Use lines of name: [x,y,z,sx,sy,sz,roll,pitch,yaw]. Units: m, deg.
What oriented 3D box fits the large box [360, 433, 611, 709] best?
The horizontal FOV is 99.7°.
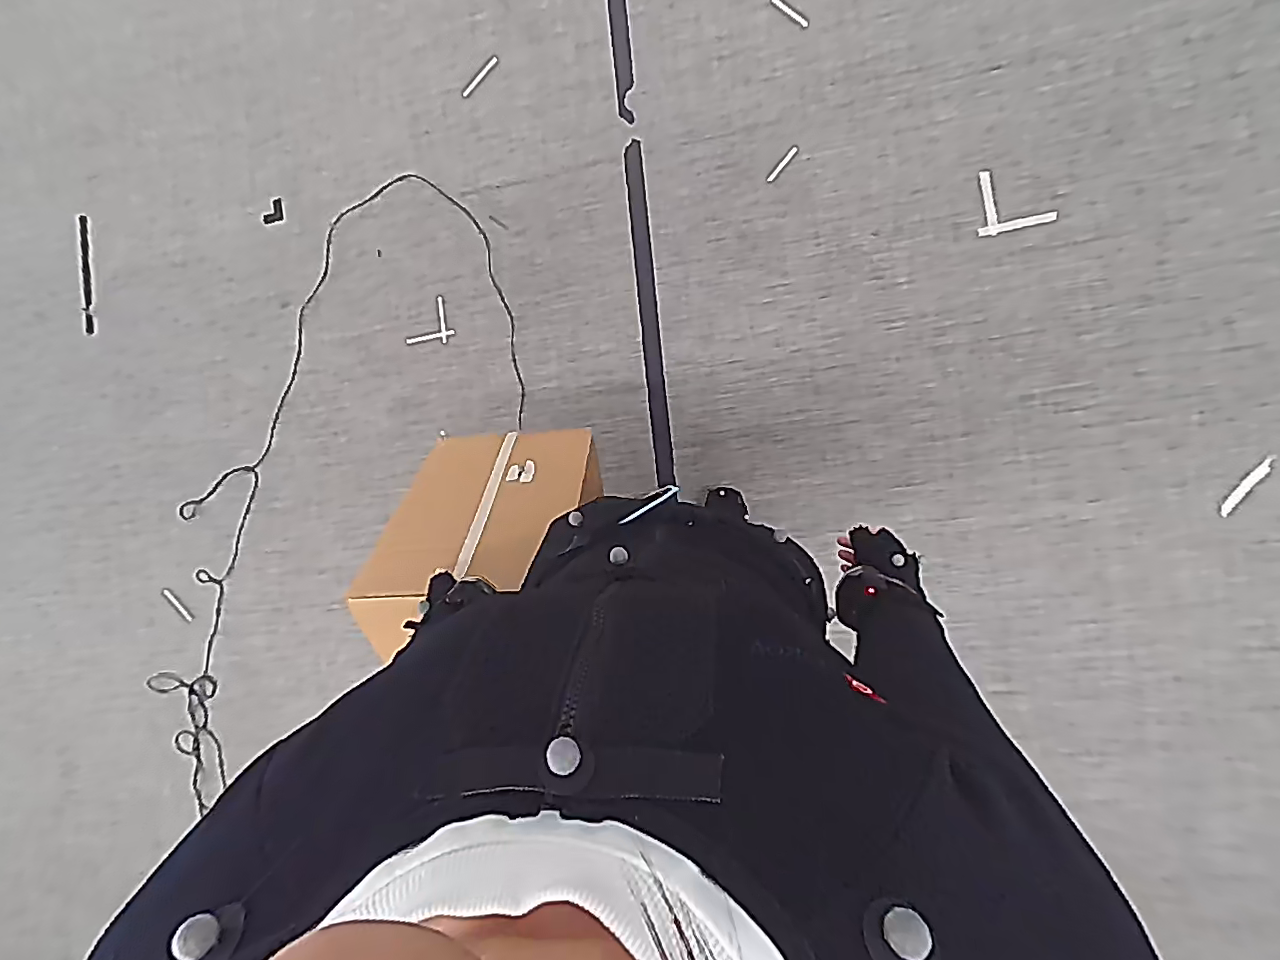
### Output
large box: [-0.233,0.156,0.999,0.320,0.408,0.320,-2,128,4]
